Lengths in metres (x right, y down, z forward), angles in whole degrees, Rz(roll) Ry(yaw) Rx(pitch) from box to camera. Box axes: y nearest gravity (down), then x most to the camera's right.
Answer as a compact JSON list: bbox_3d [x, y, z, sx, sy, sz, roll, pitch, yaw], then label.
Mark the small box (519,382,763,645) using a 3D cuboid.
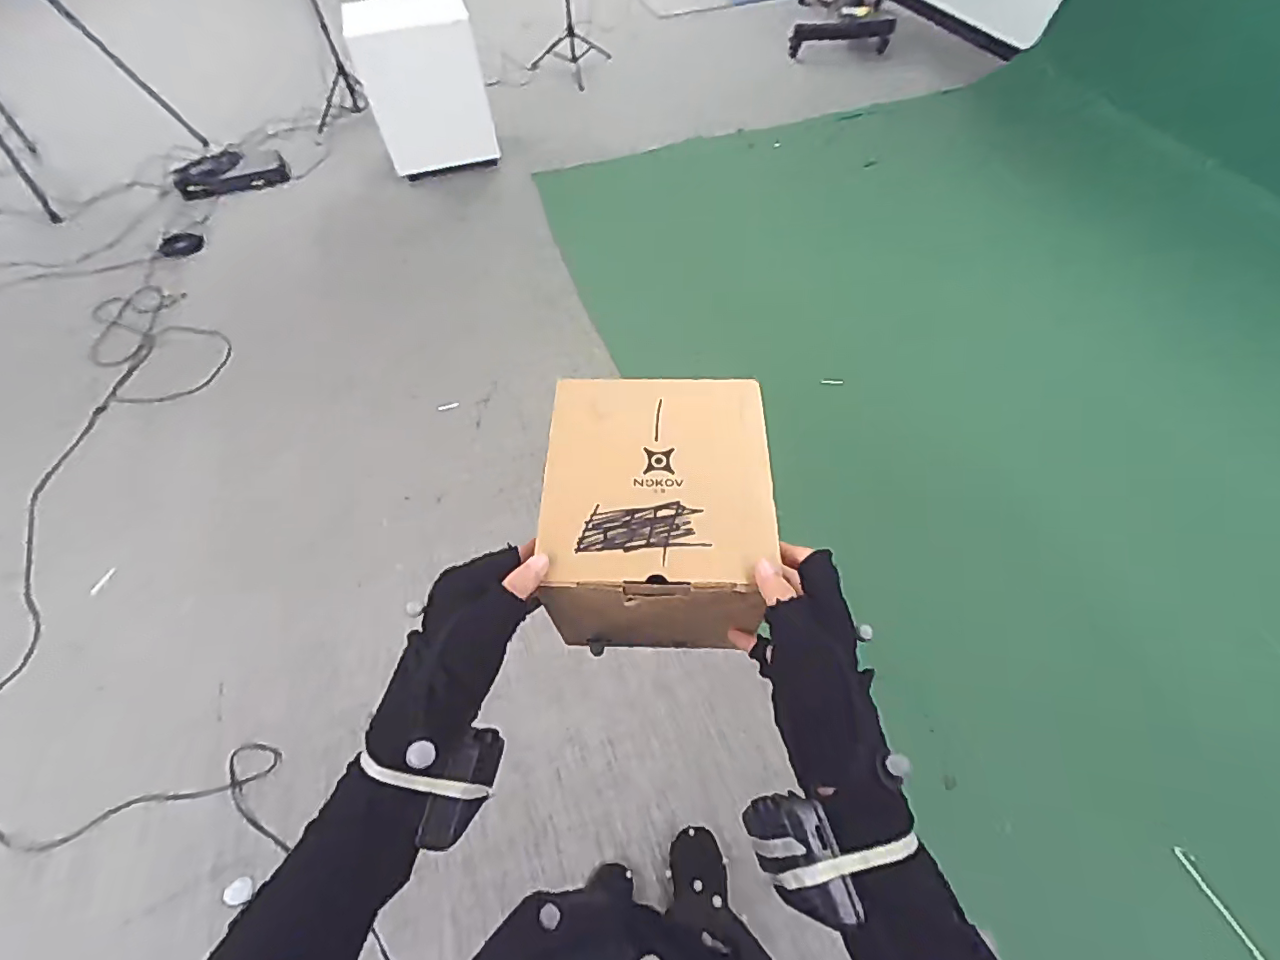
[{"bbox_3d":[0.005,0.036,0.464,0.168,0.176,0.179,1,58,2],"label":"small box"}]
